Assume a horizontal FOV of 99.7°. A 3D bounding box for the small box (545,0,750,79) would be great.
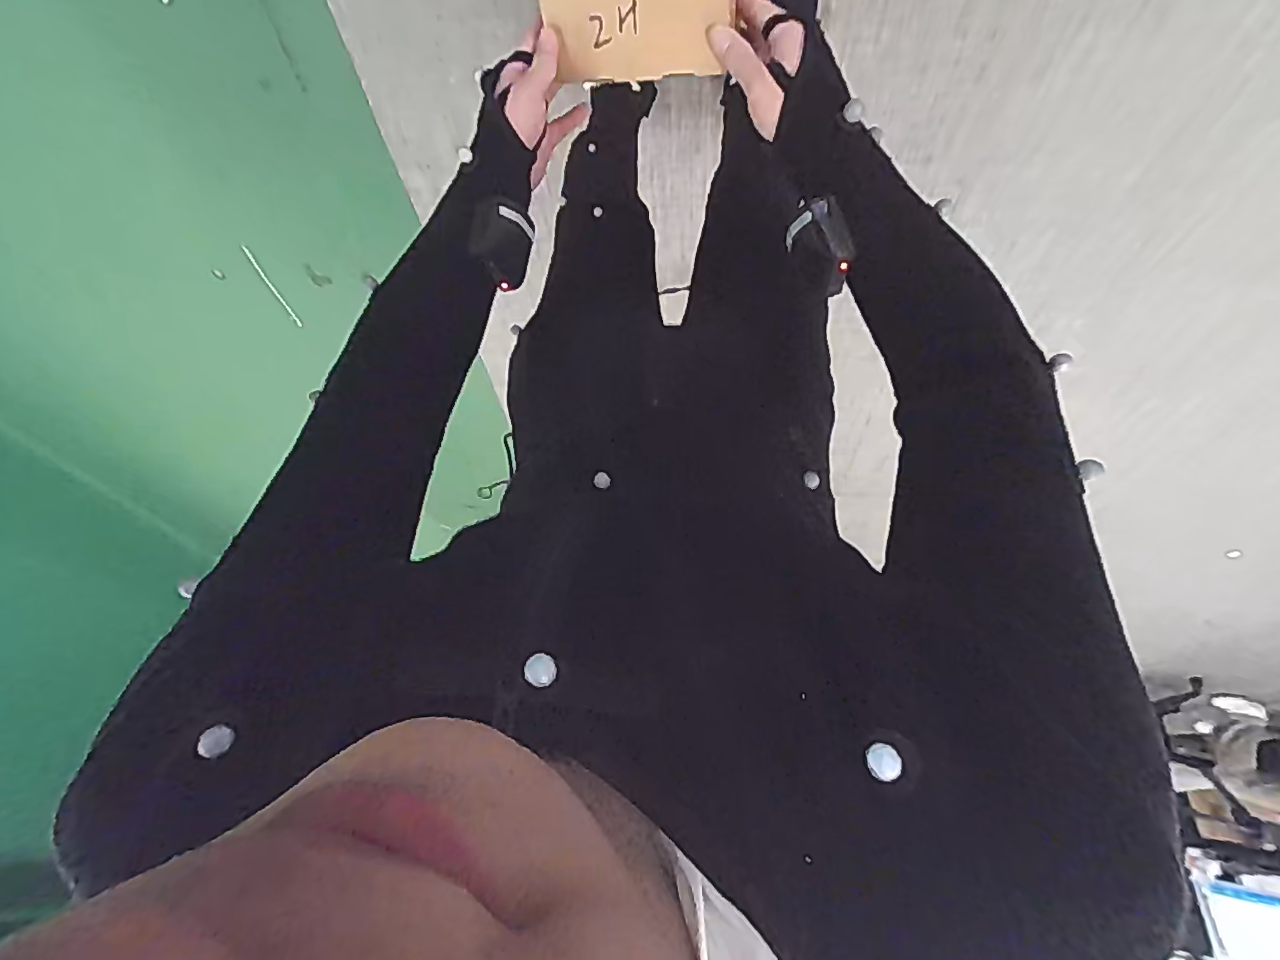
[{"bbox_3d":[0.013,-0.484,0.486,0.168,0.176,0.179,7,137,12],"label":"small box"}]
